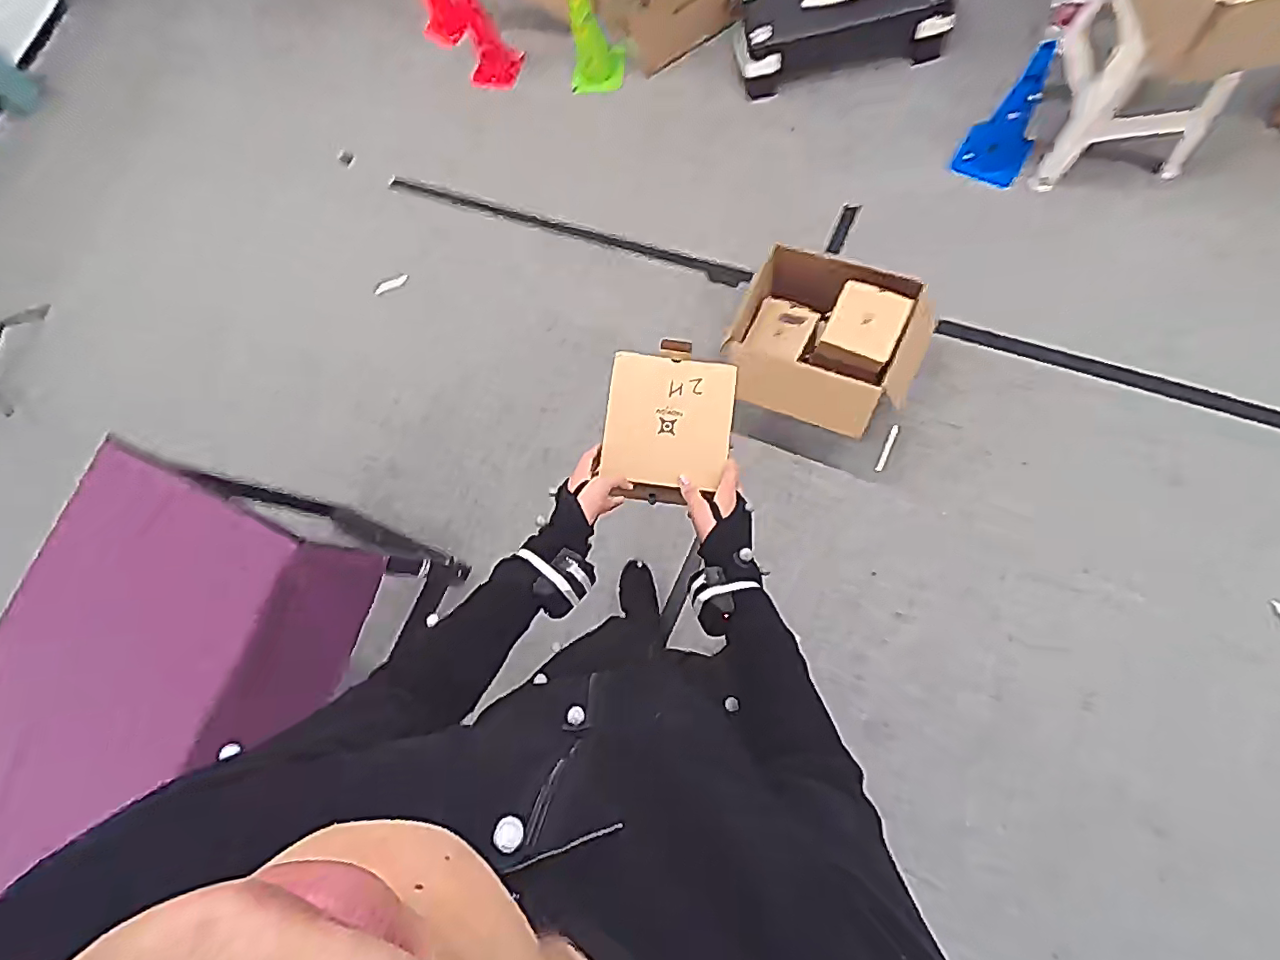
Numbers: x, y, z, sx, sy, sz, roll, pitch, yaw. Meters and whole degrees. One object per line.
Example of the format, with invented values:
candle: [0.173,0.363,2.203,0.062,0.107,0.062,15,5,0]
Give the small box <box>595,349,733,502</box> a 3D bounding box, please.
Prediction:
small box: [0.030,-0.068,0.789,0.168,0.176,0.179,8,80,-2]
